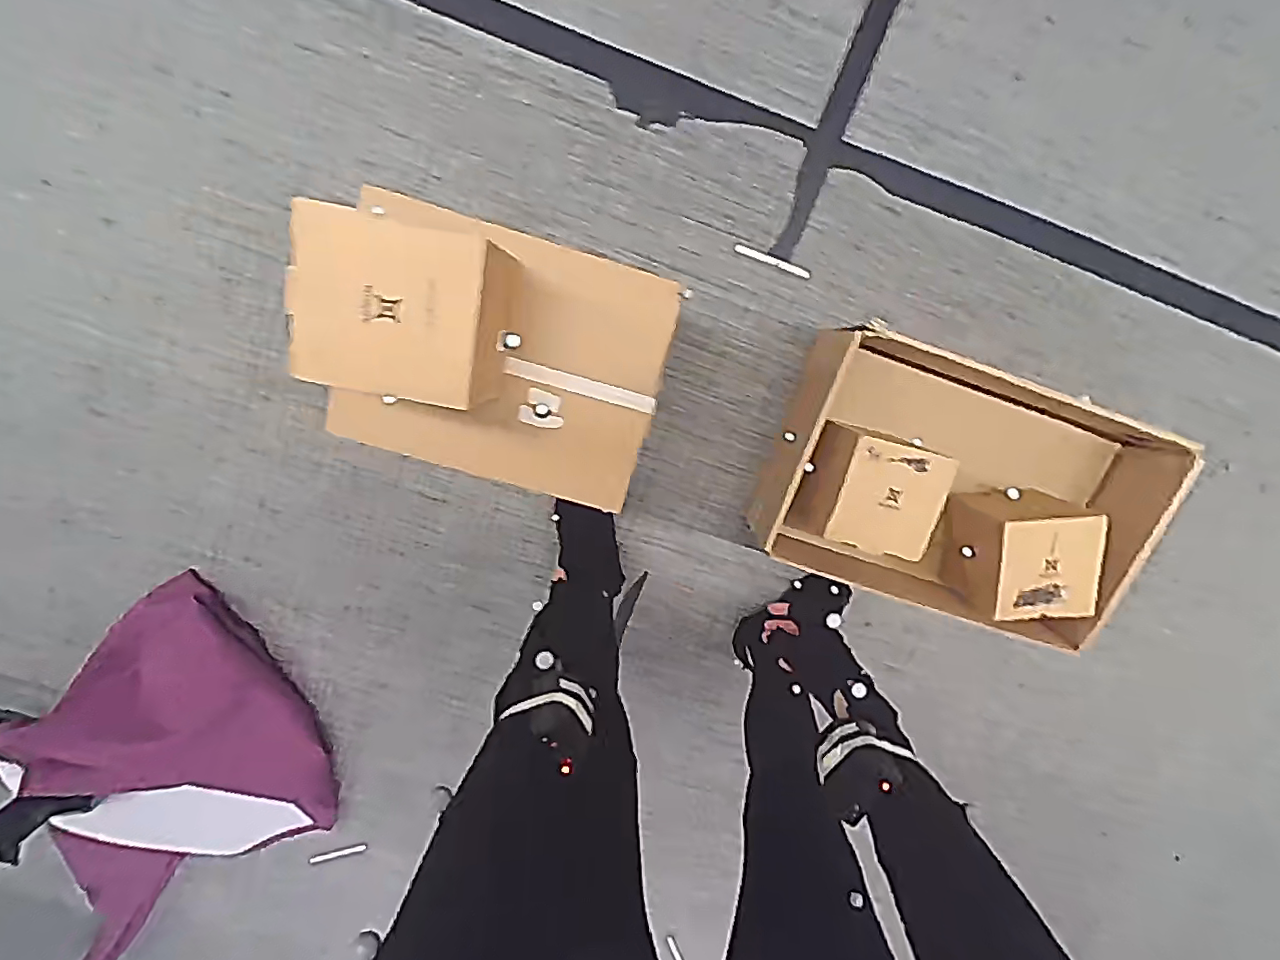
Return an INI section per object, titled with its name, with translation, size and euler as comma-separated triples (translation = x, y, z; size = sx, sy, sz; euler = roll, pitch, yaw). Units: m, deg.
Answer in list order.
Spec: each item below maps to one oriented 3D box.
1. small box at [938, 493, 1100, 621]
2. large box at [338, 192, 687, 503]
[small box]
translation = 0.655, 0.130, 0.959
size = 0.168, 0.176, 0.179
euler = -3, 103, 1
[large box]
translation = -0.176, -0.192, 0.841
size = 0.408, 0.320, 0.320
euler = 15, 104, -6
